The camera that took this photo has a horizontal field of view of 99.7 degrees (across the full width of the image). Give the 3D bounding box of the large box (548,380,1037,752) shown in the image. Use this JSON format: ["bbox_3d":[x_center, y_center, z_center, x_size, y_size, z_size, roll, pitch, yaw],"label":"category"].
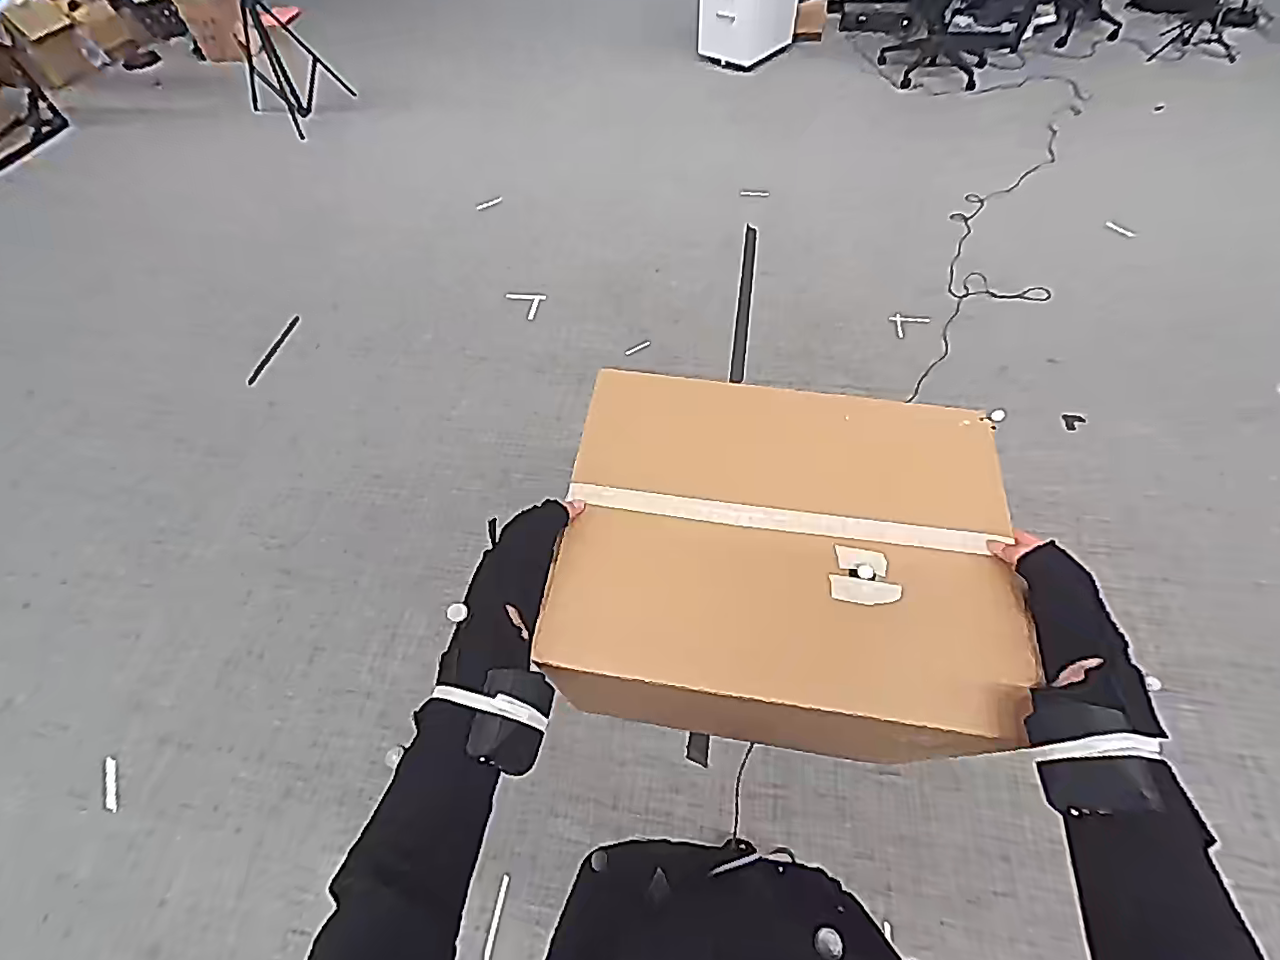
[{"bbox_3d":[0.136,0.115,0.638,0.408,0.320,0.320,7,61,4],"label":"large box"}]
